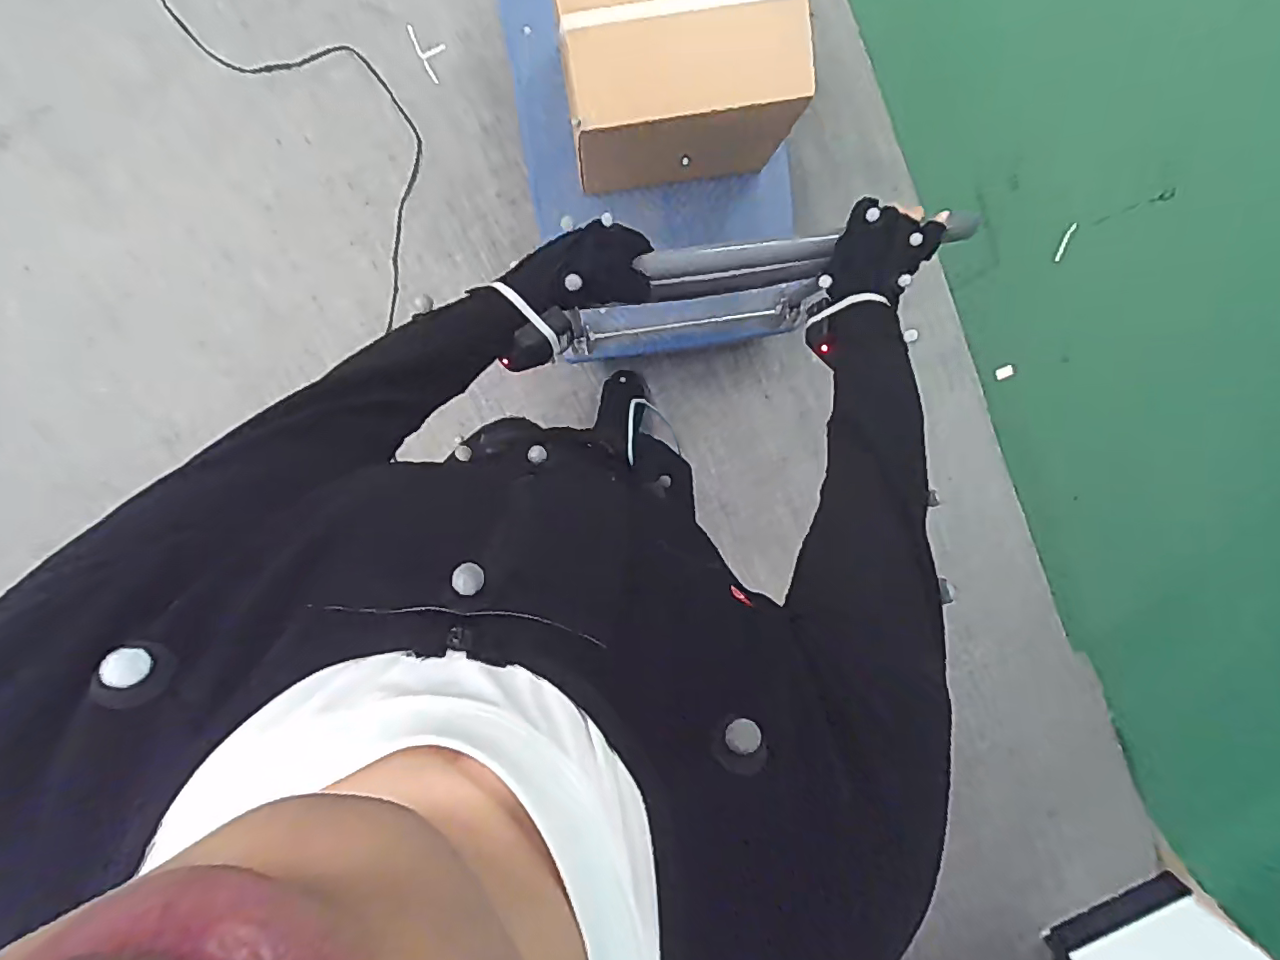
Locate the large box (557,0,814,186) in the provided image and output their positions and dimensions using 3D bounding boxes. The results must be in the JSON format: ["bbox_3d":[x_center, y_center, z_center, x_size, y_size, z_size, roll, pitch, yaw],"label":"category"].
[{"bbox_3d":[0.067,-0.797,1.021,0.408,0.320,0.320,-10,100,-1],"label":"large box"}]
